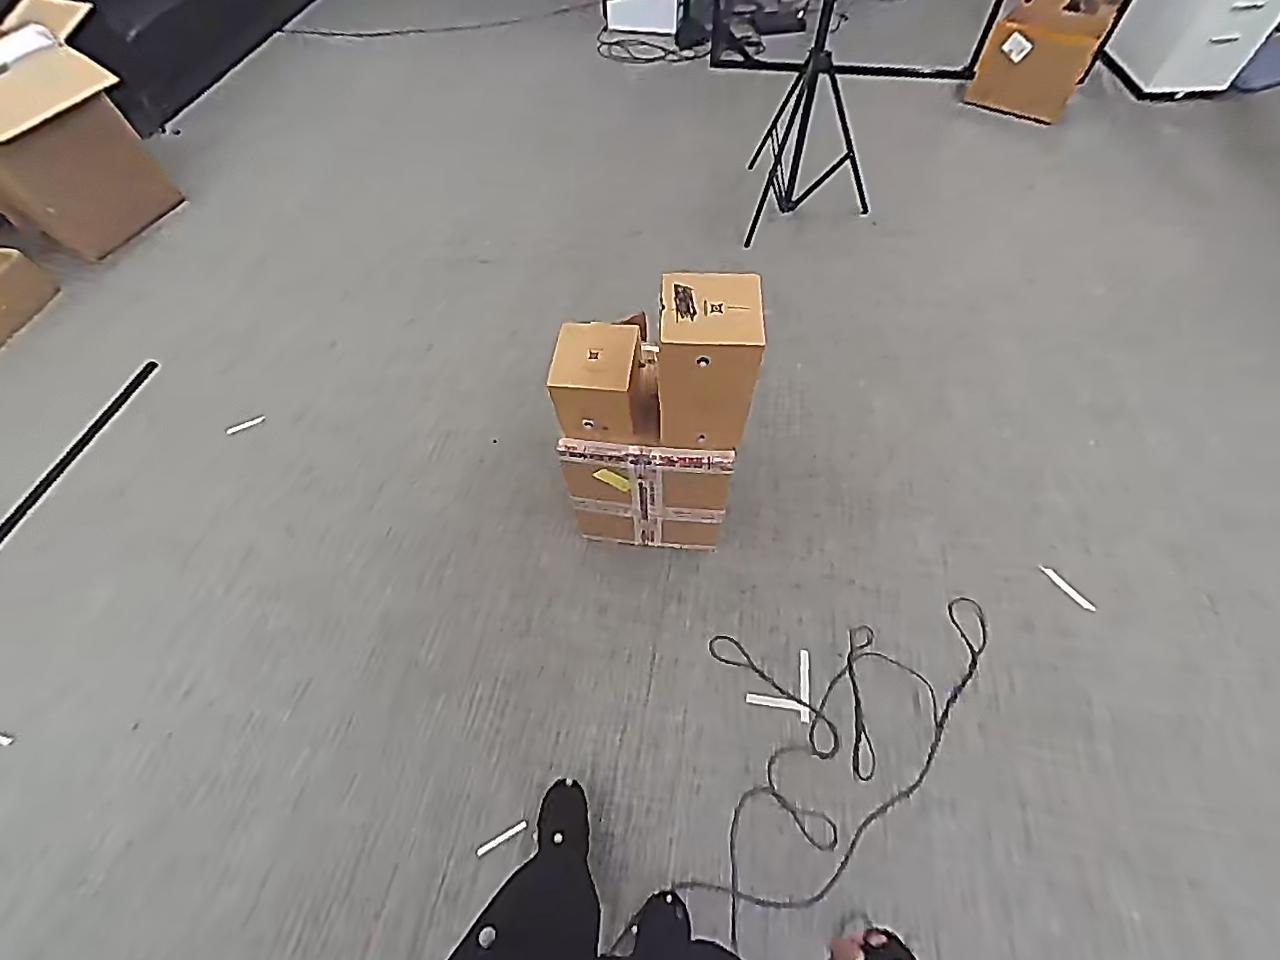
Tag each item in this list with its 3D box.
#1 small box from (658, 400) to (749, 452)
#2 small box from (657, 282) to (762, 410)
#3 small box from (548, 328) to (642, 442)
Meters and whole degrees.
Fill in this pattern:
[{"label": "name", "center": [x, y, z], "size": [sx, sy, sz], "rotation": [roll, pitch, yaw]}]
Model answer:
[{"label": "small box", "center": [0.130, -0.170, 1.150], "size": [0.179, 0.176, 0.168], "rotation": [2, 62, 2]}, {"label": "small box", "center": [0.122, -0.244, 1.002], "size": [0.179, 0.176, 0.168], "rotation": [2, 62, 3]}, {"label": "small box", "center": [-0.089, -0.205, 1.178], "size": [0.168, 0.176, 0.179], "rotation": [4, 63, 7]}]
